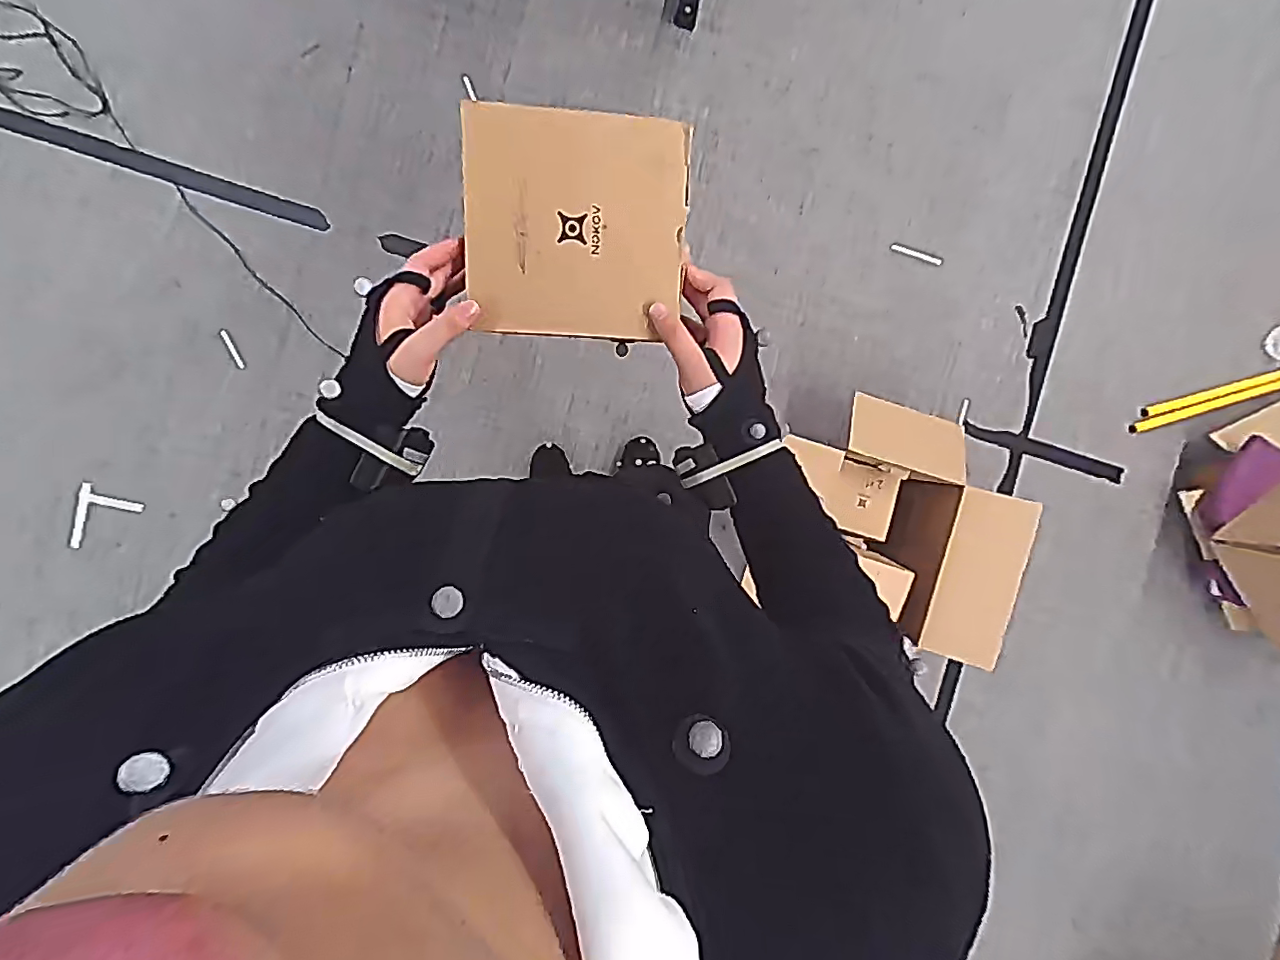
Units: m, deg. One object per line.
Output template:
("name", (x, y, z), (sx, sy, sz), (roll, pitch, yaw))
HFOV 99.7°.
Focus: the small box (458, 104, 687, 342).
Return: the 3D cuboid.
("small box", (-0.059, -0.217, 0.504), (0.179, 0.176, 0.168), (0, 103, -5))
